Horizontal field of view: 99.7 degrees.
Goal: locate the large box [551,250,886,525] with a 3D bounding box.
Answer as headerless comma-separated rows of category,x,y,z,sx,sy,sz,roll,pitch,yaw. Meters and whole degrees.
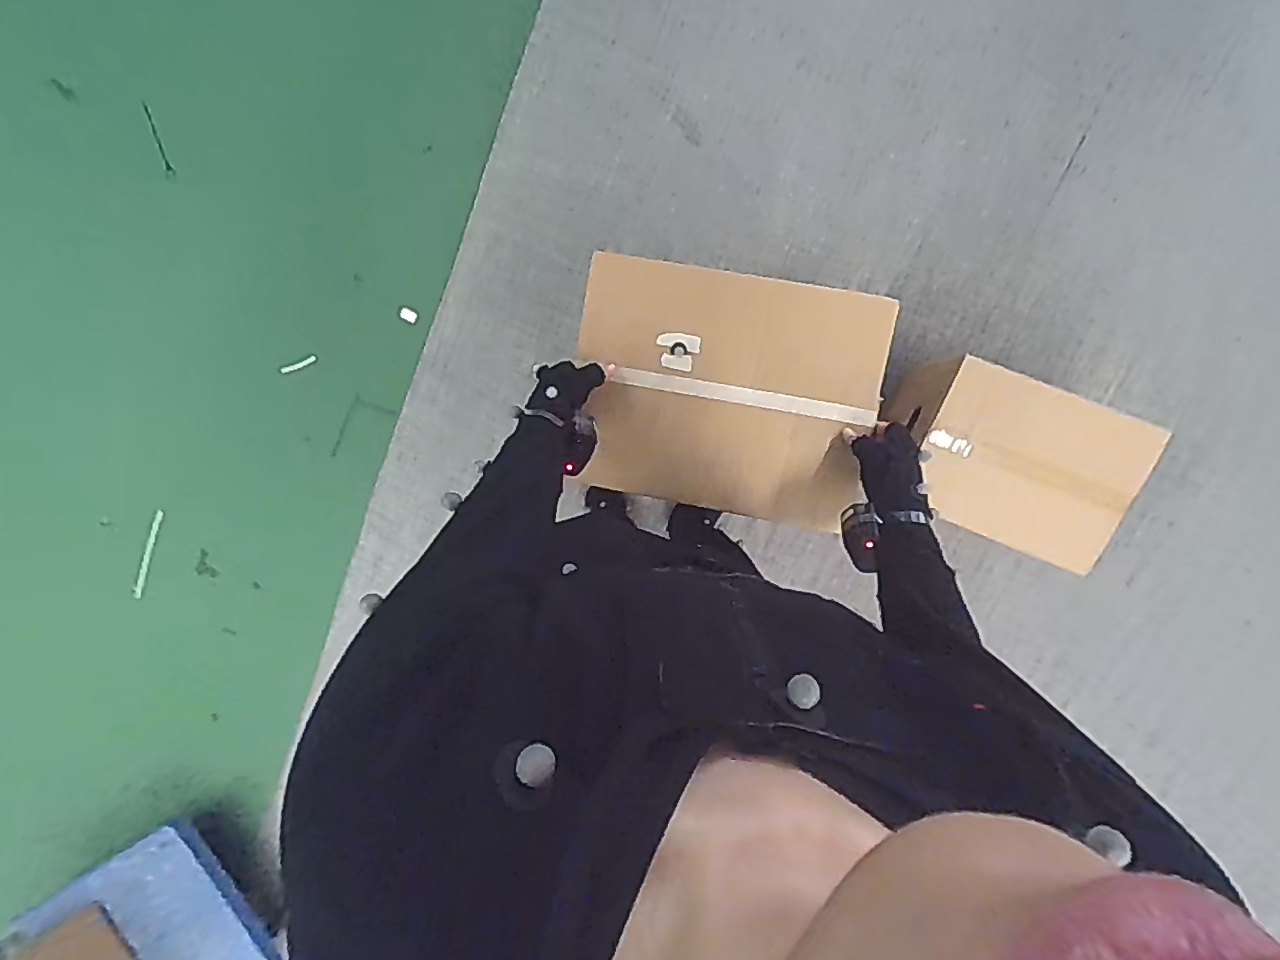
large box,0.111,-0.141,0.862,0.408,0.320,0.320,11,98,5
